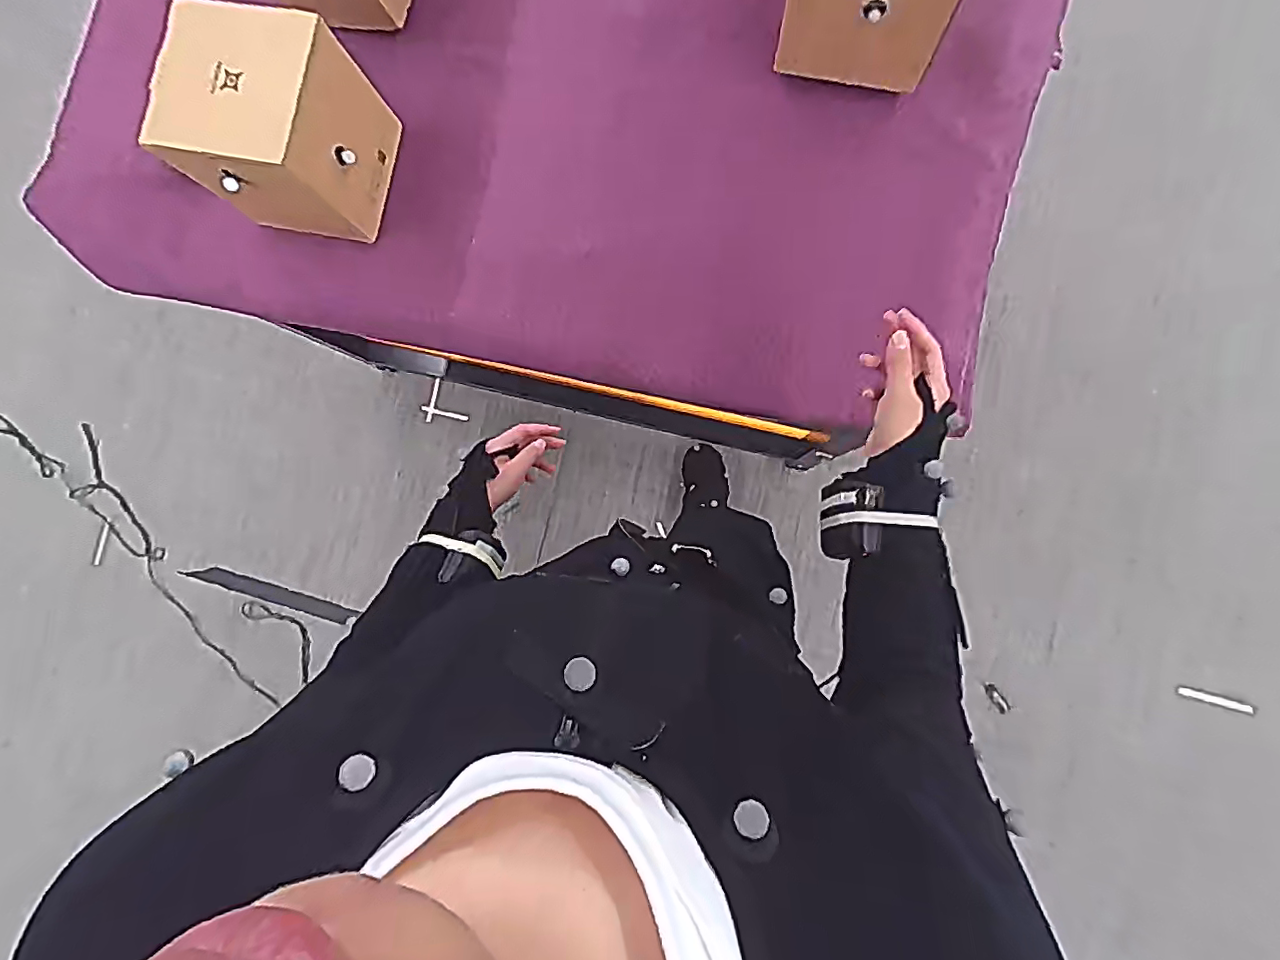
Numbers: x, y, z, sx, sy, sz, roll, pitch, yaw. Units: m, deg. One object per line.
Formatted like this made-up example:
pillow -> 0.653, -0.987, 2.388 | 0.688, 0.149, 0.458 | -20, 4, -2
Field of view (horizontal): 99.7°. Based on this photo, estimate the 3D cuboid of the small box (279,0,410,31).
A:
small box -> -0.377, -0.682, 0.635 | 0.179, 0.168, 0.176 | 17, 88, 14

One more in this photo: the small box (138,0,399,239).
small box -> -0.418, -0.410, 0.639 | 0.179, 0.176, 0.168 | 12, 88, 7
